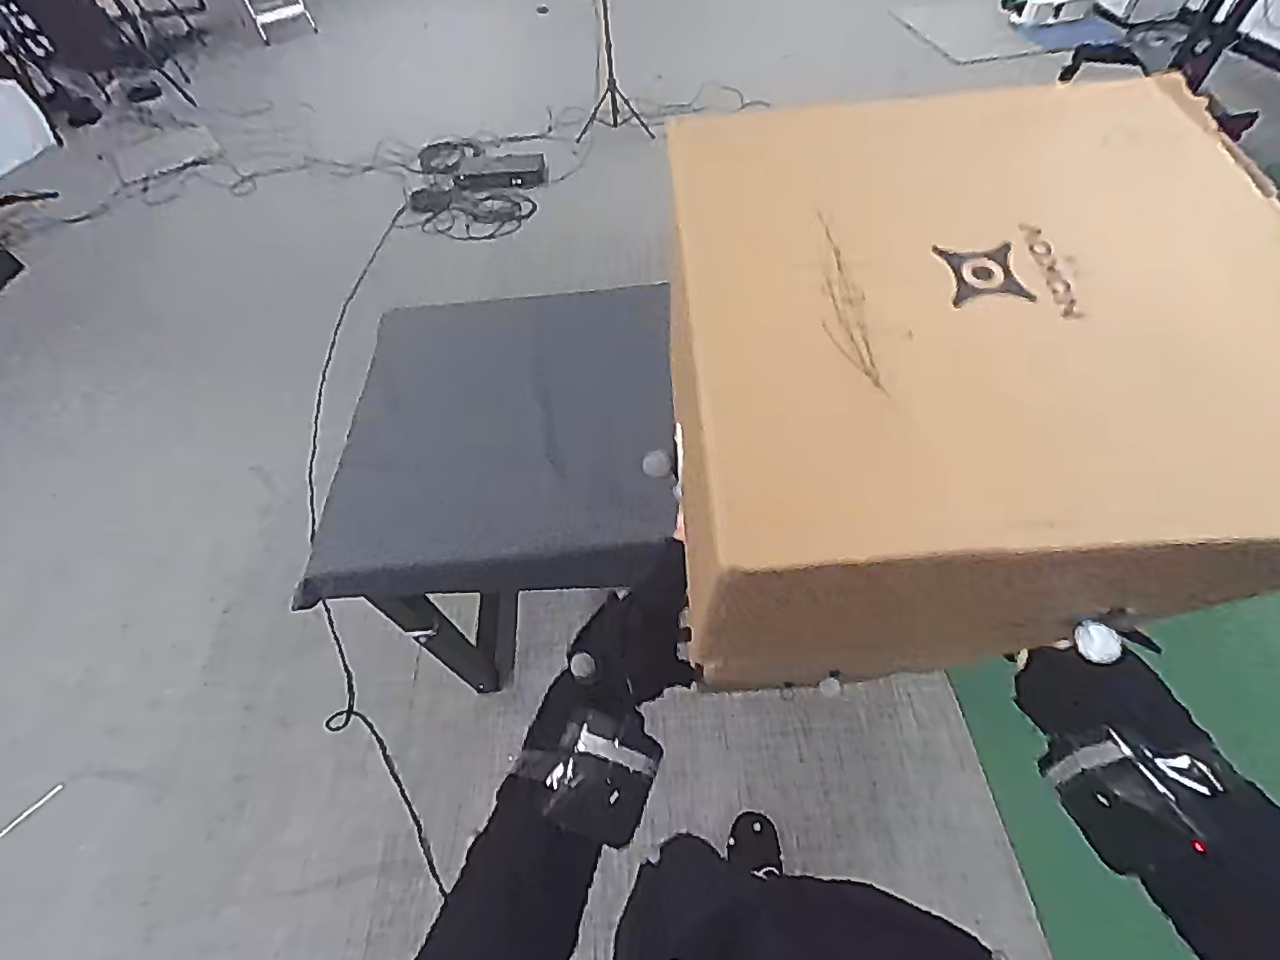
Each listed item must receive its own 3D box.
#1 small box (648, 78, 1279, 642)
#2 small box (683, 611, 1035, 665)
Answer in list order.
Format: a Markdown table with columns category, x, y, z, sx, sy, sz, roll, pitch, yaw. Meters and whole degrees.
| category | x | y | z | sx | sy | sz | roll | pitch | yaw |
| --- | --- | --- | --- | --- | --- | --- | --- | --- | --- |
| small box | 0.097 | -0.029 | 0.235 | 0.179 | 0.176 | 0.168 | -5 | 65 | 3 |
| small box | 0.118 | 0.034 | 0.383 | 0.179 | 0.176 | 0.168 | -3 | 64 | 1 |
